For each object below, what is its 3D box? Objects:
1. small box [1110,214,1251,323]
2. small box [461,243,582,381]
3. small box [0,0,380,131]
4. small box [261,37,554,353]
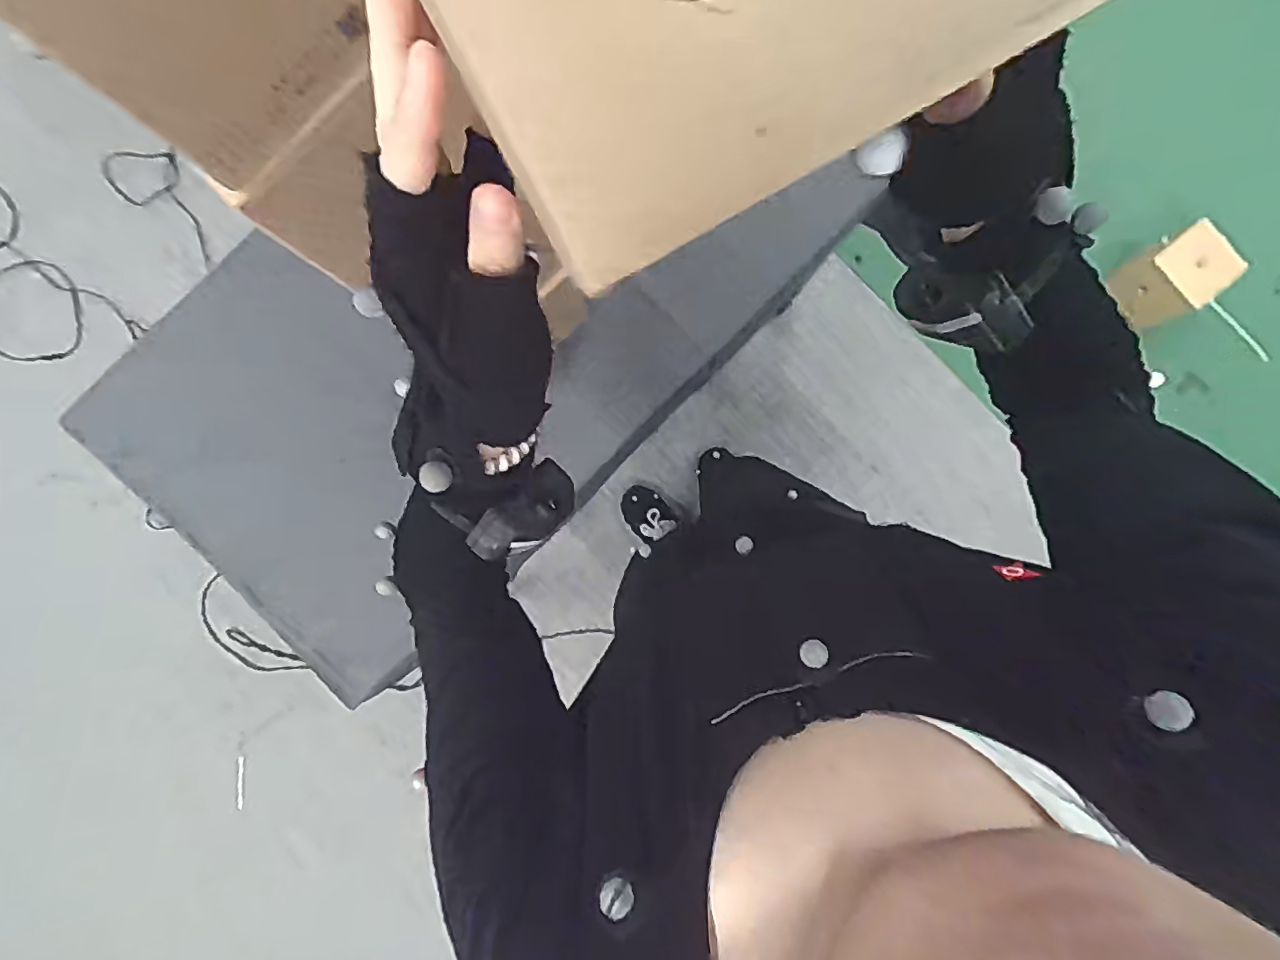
[{"bbox_3d":[1.398,-0.544,1.419,0.179,0.176,0.168,-39,88,-1],"label":"small box"},{"bbox_3d":[-0.196,-0.252,0.695,0.168,0.176,0.179,-44,89,-1],"label":"small box"},{"bbox_3d":[-0.224,-0.282,0.207,0.179,0.176,0.168,44,90,2],"label":"small box"},{"bbox_3d":[-0.203,-0.257,0.532,0.168,0.176,0.179,44,89,3],"label":"small box"}]
